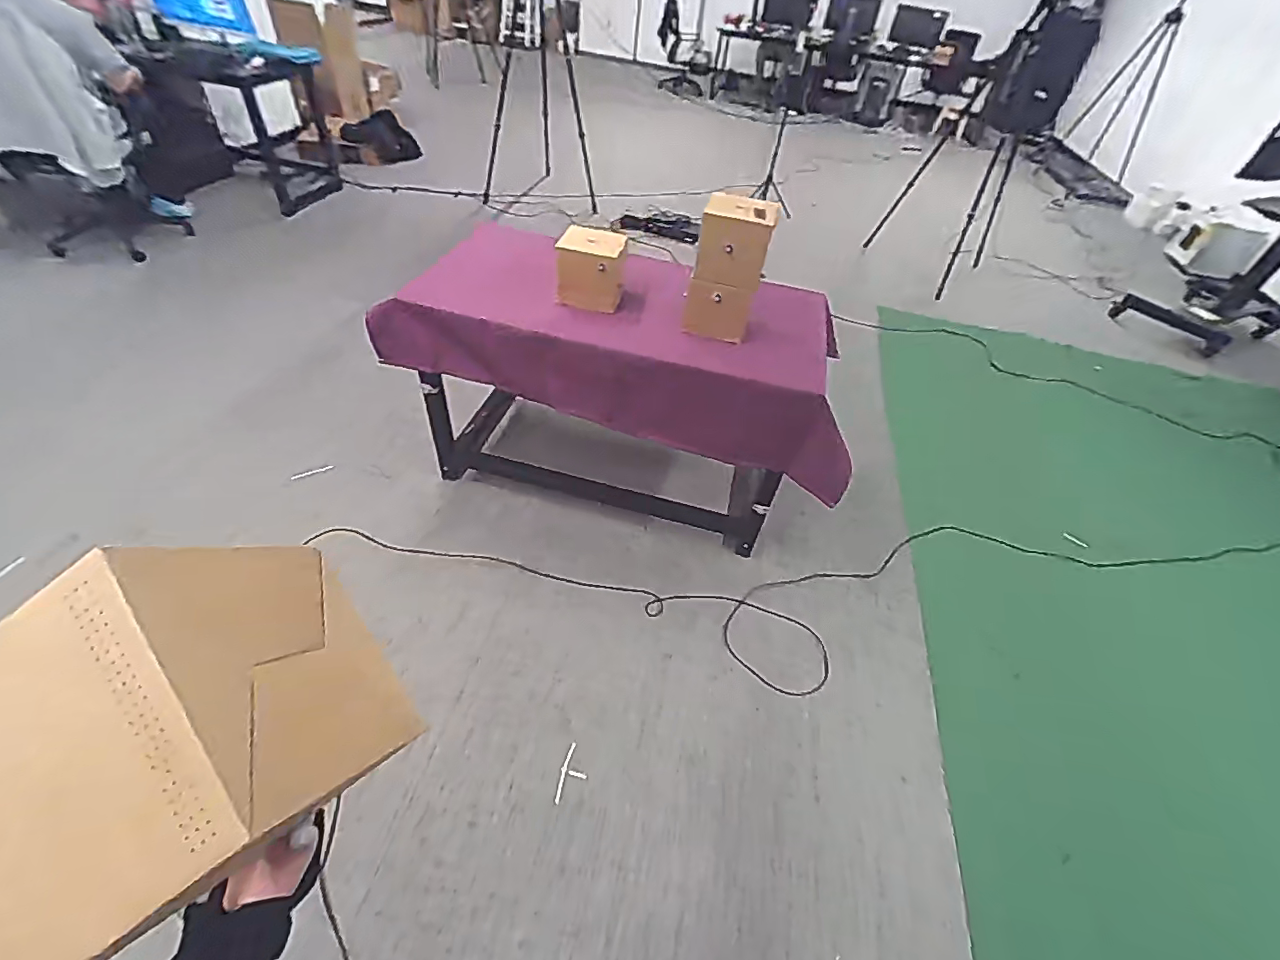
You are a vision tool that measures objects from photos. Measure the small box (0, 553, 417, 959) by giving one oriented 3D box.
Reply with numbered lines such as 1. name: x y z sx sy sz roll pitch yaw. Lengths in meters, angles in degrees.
1. small box: -0.287 0.163 0.356 0.176 0.168 0.179 -37 80 2

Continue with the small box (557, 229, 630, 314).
1. small box: -0.137 -0.606 1.576 0.179 0.176 0.168 12 45 2

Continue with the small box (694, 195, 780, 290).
1. small box: 0.251 -0.615 1.410 0.179 0.176 0.168 14 46 7

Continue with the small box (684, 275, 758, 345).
1. small box: 0.230 -0.503 1.528 0.179 0.176 0.168 15 46 6
